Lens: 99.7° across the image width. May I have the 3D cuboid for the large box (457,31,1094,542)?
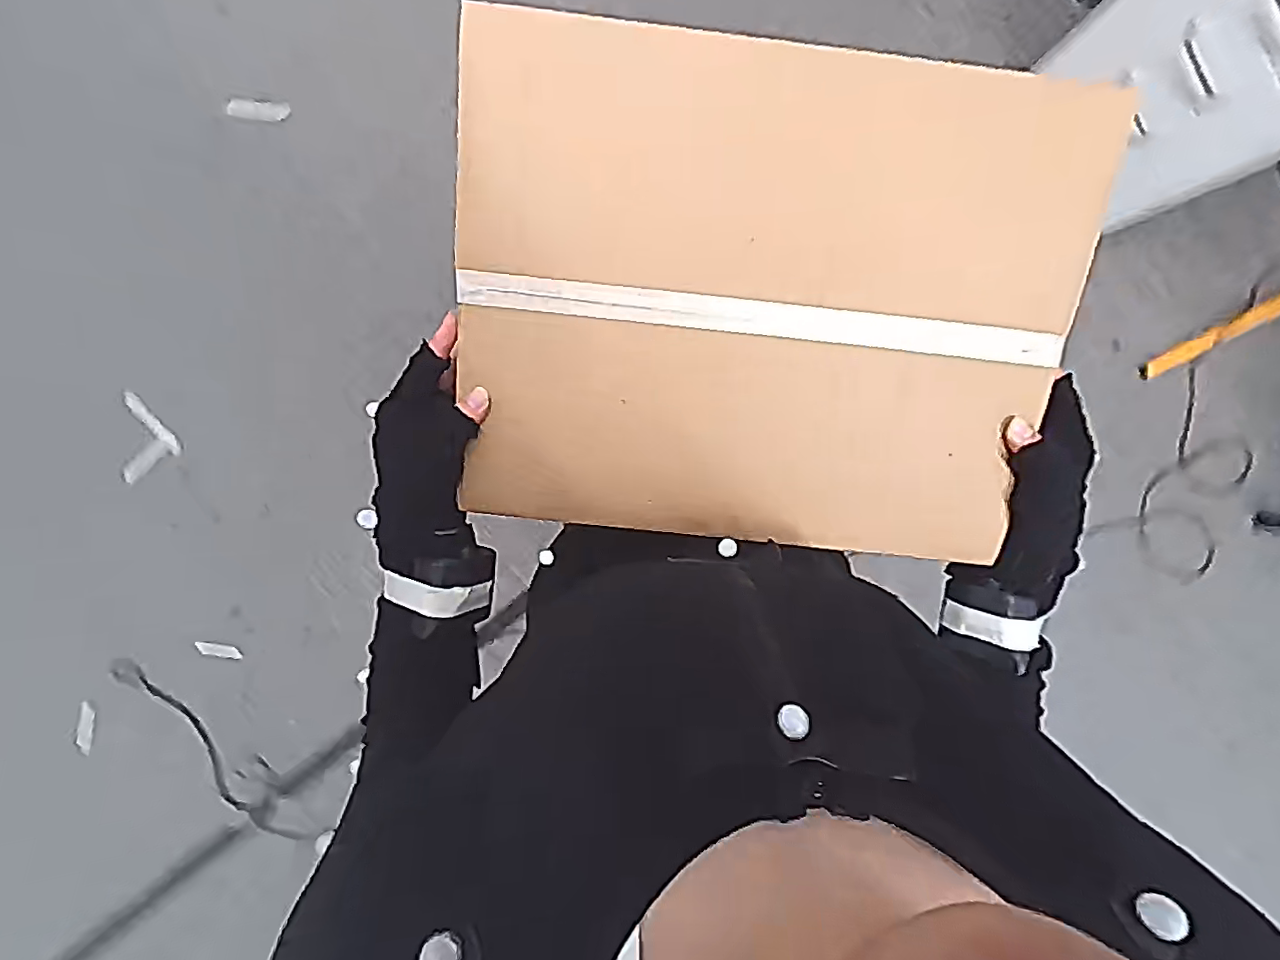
[{"bbox_3d":[0.073,-0.152,0.514,0.408,0.320,0.320,5,107,-2],"label":"large box"}]
